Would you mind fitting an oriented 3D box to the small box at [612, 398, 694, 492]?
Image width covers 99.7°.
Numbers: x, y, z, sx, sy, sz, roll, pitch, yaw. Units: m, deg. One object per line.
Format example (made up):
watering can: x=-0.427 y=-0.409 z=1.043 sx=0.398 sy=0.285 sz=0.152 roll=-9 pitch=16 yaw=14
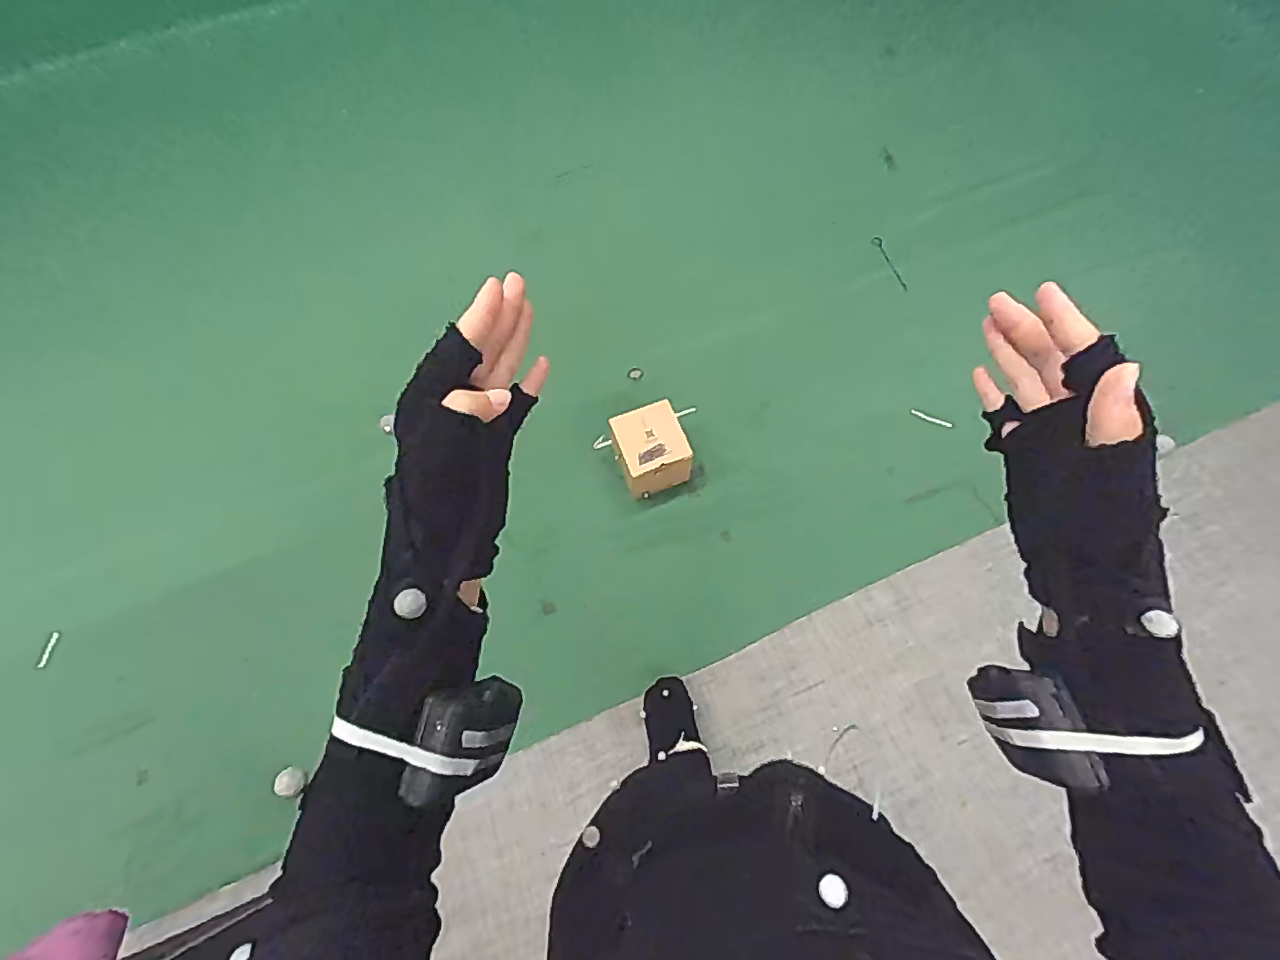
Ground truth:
small box: x=0.035 y=-0.083 z=1.437 sx=0.168 sy=0.176 sz=0.179 roll=-20 pitch=69 yaw=-7
